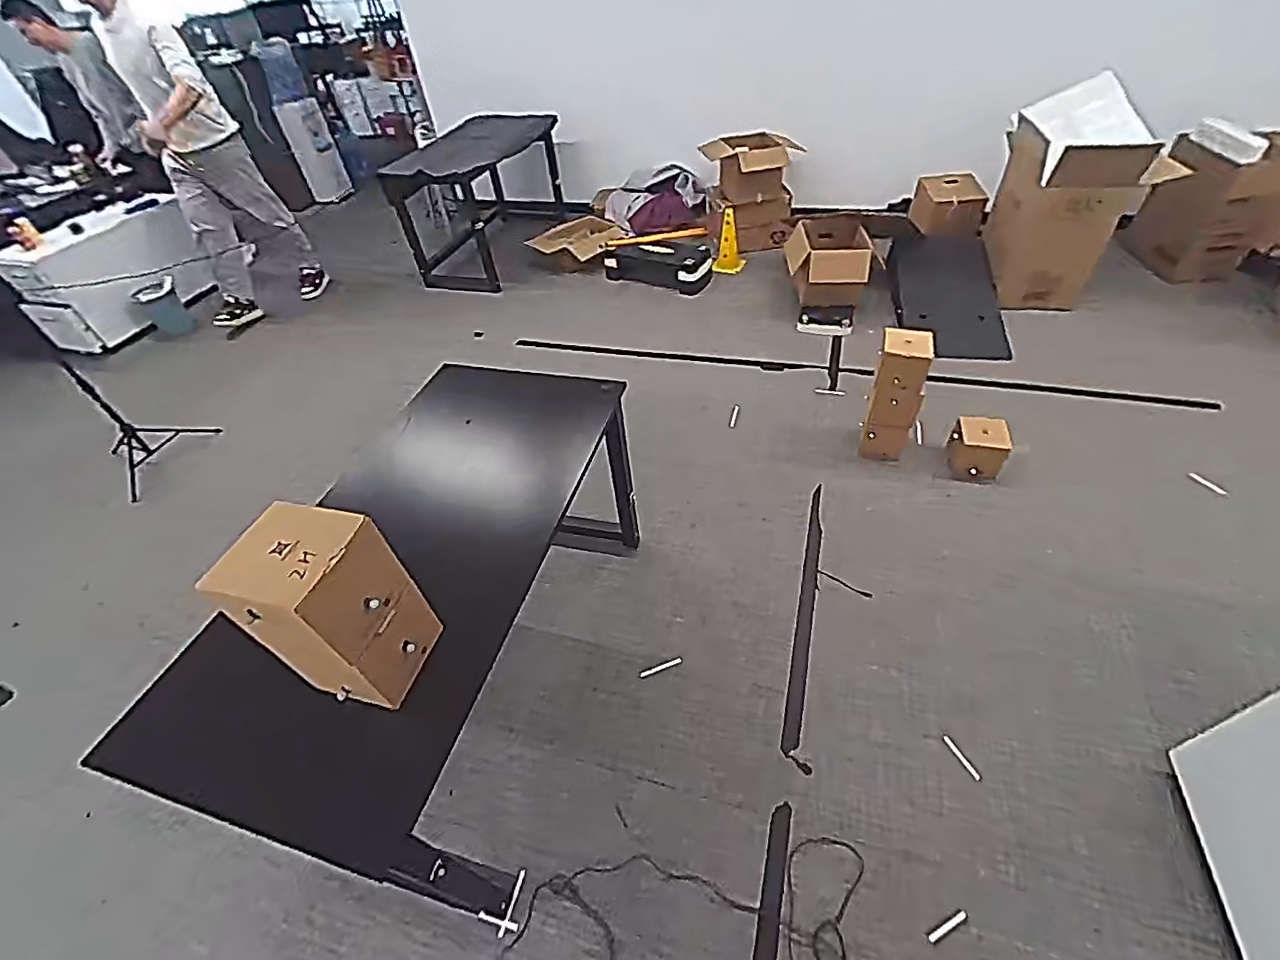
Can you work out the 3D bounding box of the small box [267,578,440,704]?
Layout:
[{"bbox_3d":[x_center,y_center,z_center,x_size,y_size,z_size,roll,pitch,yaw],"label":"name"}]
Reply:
[{"bbox_3d":[-0.483,0.271,0.946,0.179,0.176,0.168,8,47,13],"label":"small box"}]

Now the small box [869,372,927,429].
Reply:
[{"bbox_3d":[1.019,-0.323,2.148,0.179,0.176,0.168,10,48,14],"label":"small box"}]

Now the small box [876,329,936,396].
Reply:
[{"bbox_3d":[1.000,-0.443,2.039,0.168,0.176,0.179,11,49,16],"label":"small box"}]

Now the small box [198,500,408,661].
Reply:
[{"bbox_3d":[-0.498,0.155,0.829,0.179,0.176,0.168,8,48,14],"label":"small box"}]

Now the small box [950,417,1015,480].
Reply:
[{"bbox_3d":[1.356,-0.125,2.153,0.168,0.176,0.179,7,48,15],"label":"small box"}]
